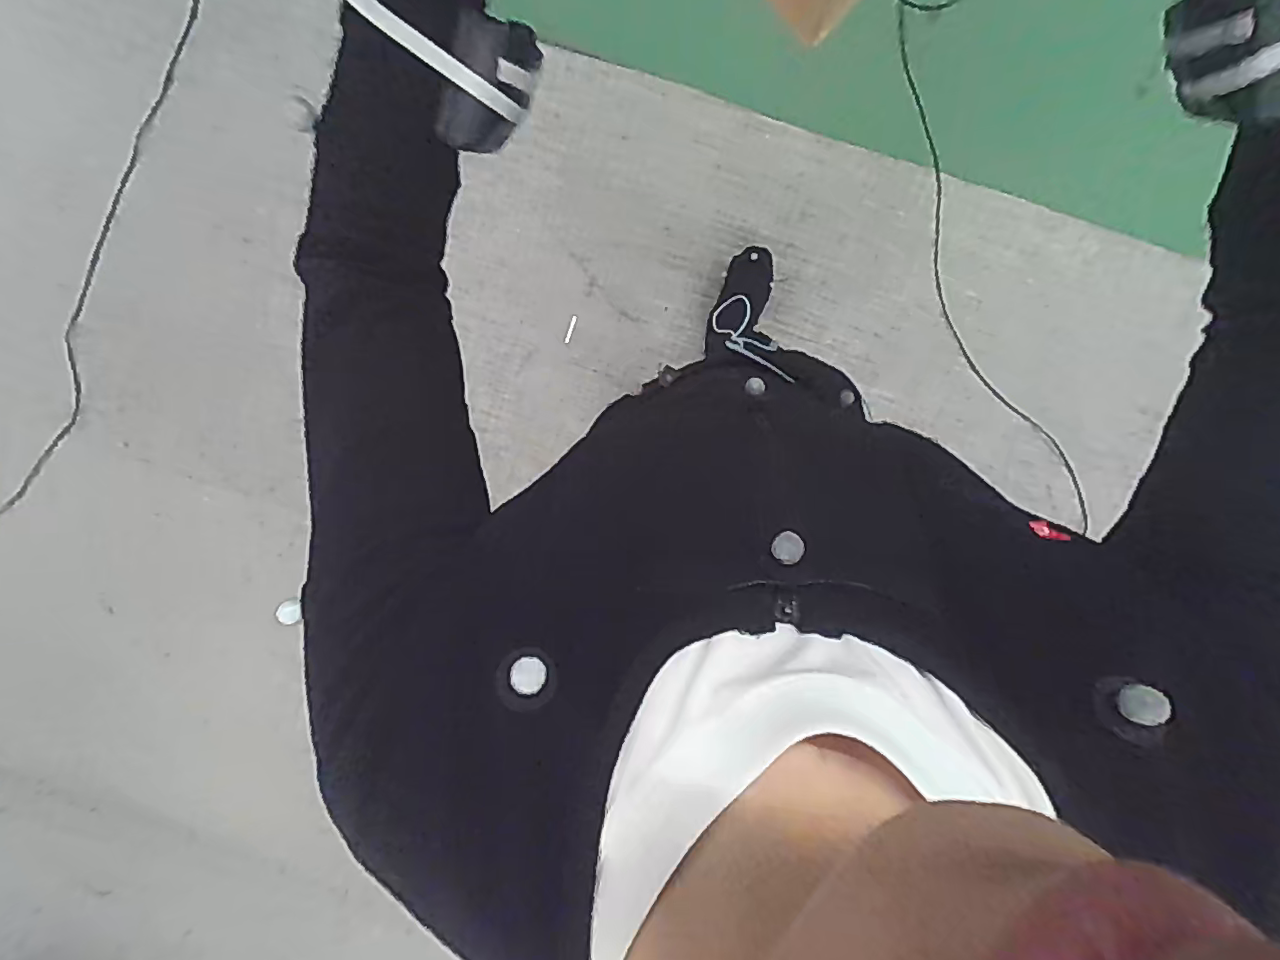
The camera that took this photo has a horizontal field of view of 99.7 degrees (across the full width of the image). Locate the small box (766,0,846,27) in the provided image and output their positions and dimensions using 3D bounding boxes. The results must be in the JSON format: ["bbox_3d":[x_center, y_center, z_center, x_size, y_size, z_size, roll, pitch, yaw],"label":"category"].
[{"bbox_3d":[0.100,-0.378,0.250,0.168,0.176,0.179,-43,100,15],"label":"small box"}]
